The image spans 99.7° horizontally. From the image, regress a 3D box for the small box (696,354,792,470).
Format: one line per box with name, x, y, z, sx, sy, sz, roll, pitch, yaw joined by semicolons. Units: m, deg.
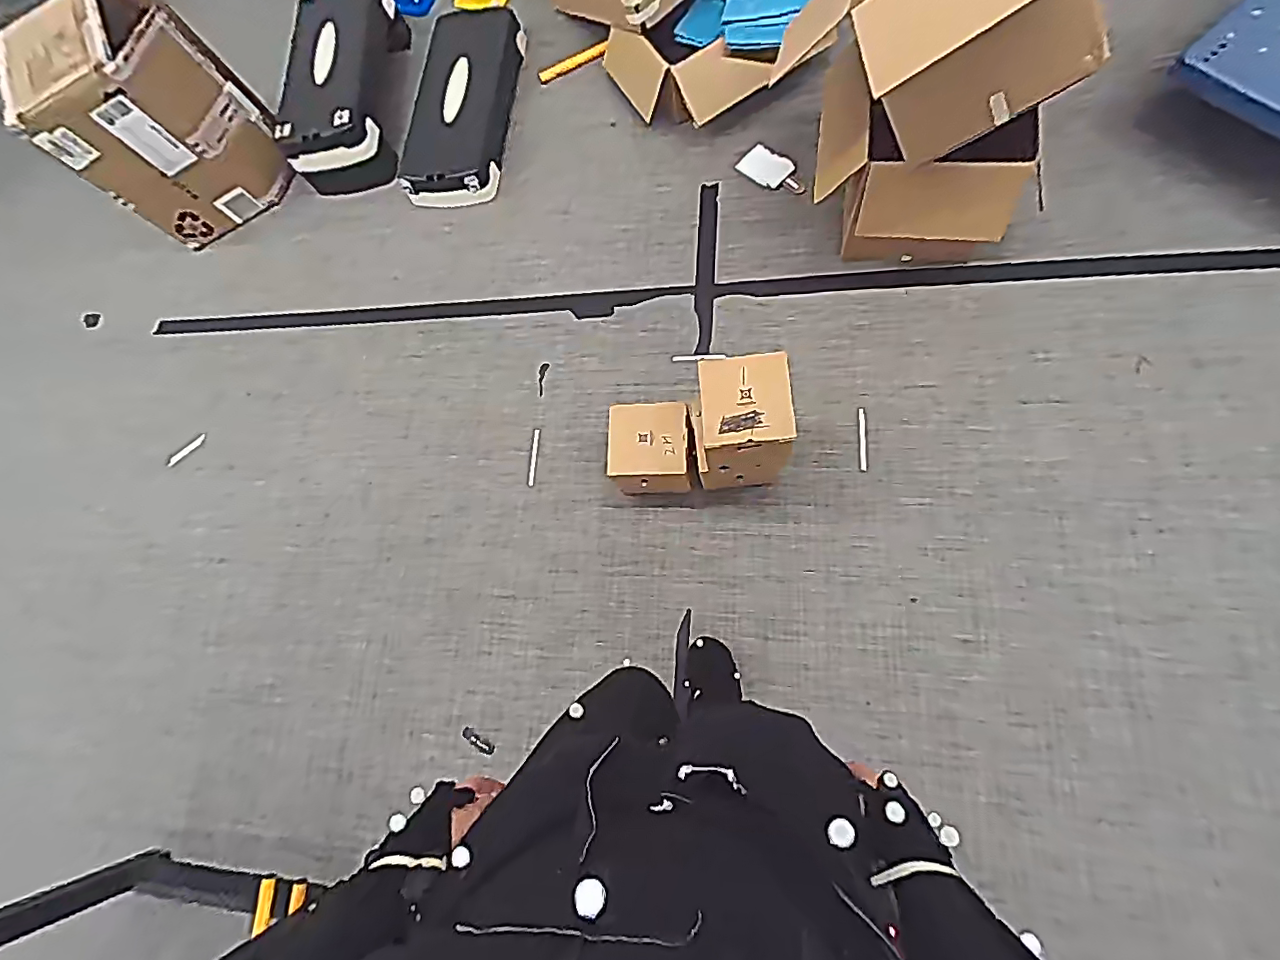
small box;0.203;-0.124;1.065;0.168;0.176;0.179;-5;74;9
